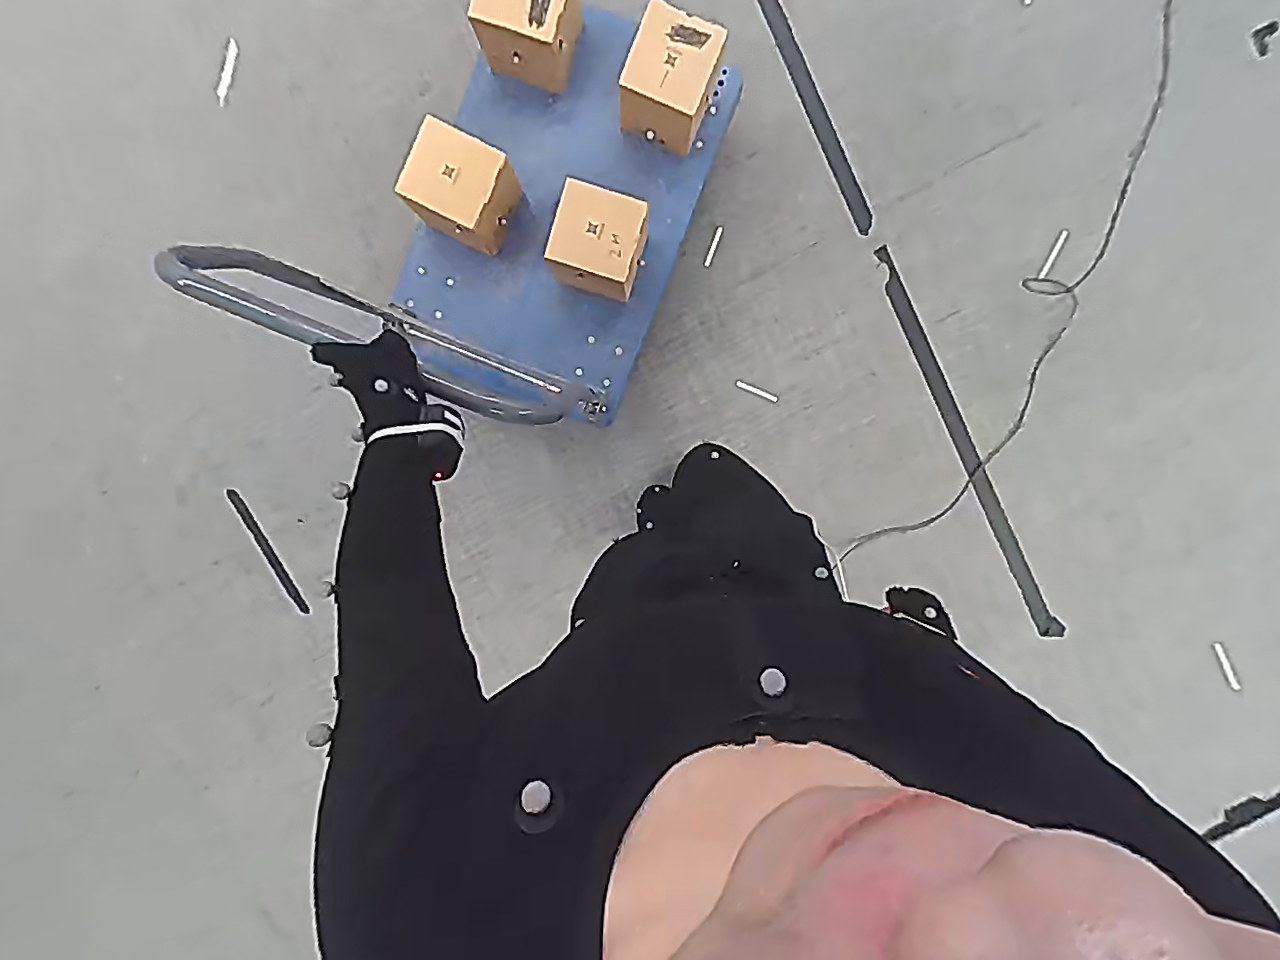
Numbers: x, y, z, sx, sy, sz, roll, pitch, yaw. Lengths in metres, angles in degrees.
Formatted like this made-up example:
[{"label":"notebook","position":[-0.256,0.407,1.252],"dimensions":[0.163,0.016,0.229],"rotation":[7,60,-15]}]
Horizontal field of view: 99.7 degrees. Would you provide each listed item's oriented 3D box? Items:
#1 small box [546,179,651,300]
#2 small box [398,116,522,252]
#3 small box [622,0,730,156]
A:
[{"label":"small box","position":[-0.085,-0.506,1.165],"dimensions":[0.179,0.176,0.168],"rotation":[18,95,-2]},{"label":"small box","position":[-0.374,-0.616,1.155],"dimensions":[0.179,0.176,0.168],"rotation":[25,94,-4]},{"label":"small box","position":[0.068,-0.833,1.137],"dimensions":[0.168,0.176,0.179],"rotation":[23,96,-2]}]
